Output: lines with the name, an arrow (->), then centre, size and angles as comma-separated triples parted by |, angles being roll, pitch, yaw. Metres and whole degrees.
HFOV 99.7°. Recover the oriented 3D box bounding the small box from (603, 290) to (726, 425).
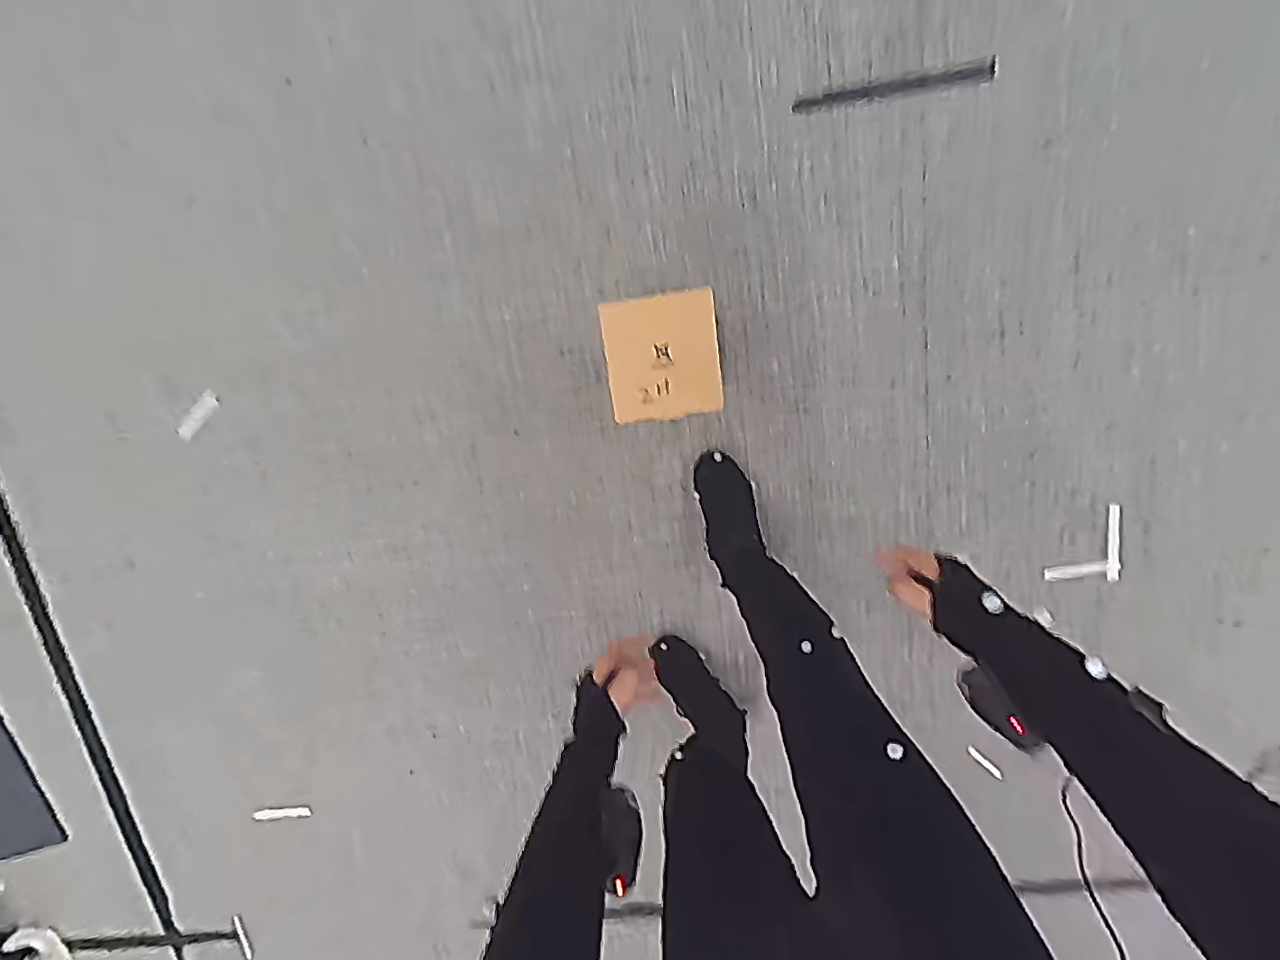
small box -> 0.040, -0.190, 0.855 | 0.168, 0.176, 0.179 | -7, 103, 5
